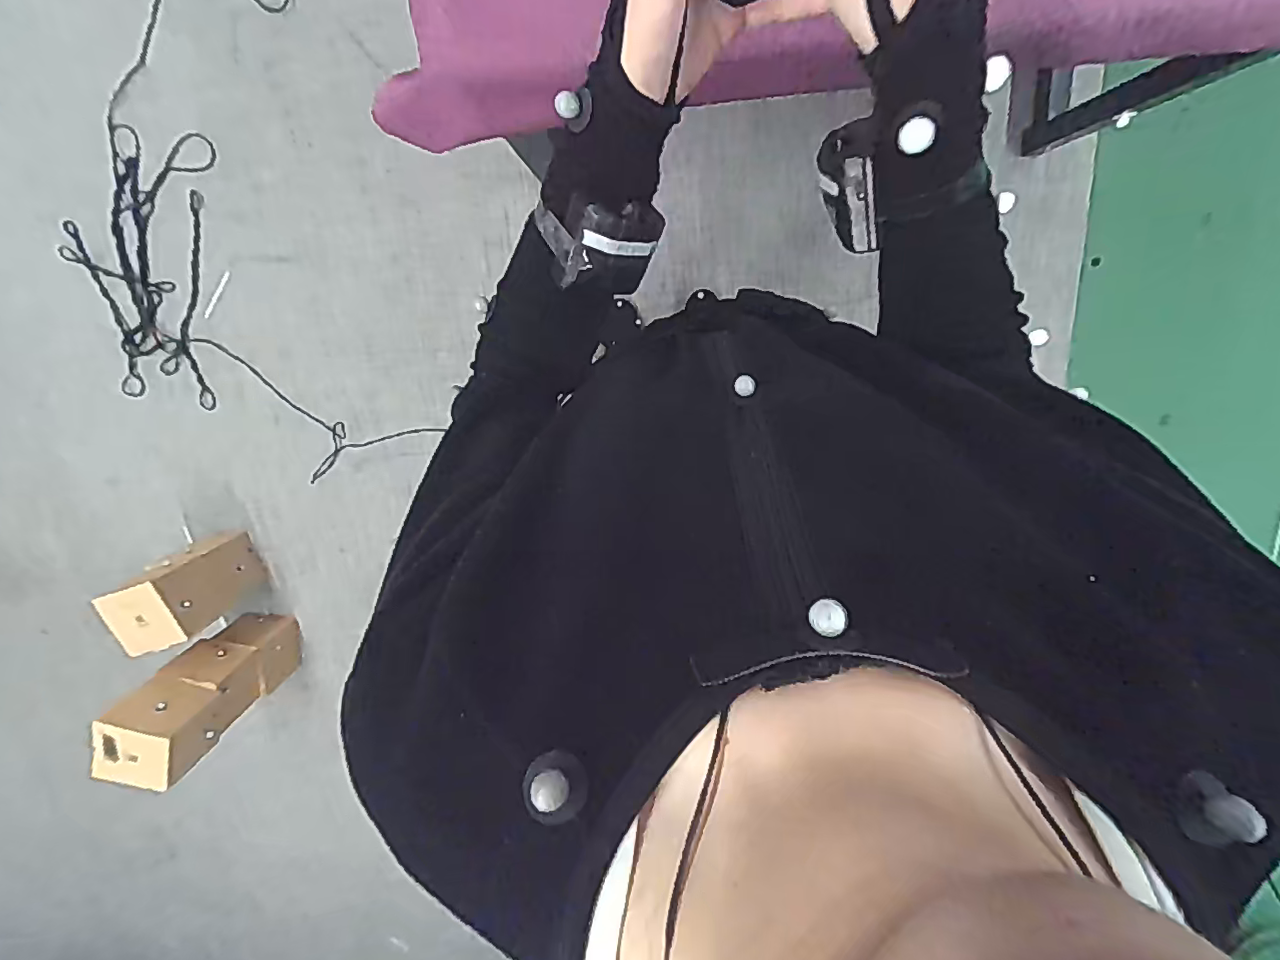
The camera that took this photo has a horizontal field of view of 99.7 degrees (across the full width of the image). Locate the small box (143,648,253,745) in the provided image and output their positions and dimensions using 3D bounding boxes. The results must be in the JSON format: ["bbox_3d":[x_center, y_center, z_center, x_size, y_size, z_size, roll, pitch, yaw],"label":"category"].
[{"bbox_3d":[-1.183,0.587,1.457,0.168,0.176,0.179,12,105,-2],"label":"small box"}]

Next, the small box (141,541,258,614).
[{"bbox_3d":[-1.237,0.288,1.539,0.179,0.176,0.168,-12,105,5],"label":"small box"}]

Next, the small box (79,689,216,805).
[{"bbox_3d":[-1.178,0.632,1.299,0.179,0.176,0.168,16,105,-4],"label":"small box"}]

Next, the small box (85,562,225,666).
[{"bbox_3d":[-1.225,0.338,1.384,0.168,0.176,0.179,-17,105,5],"label":"small box"}]
